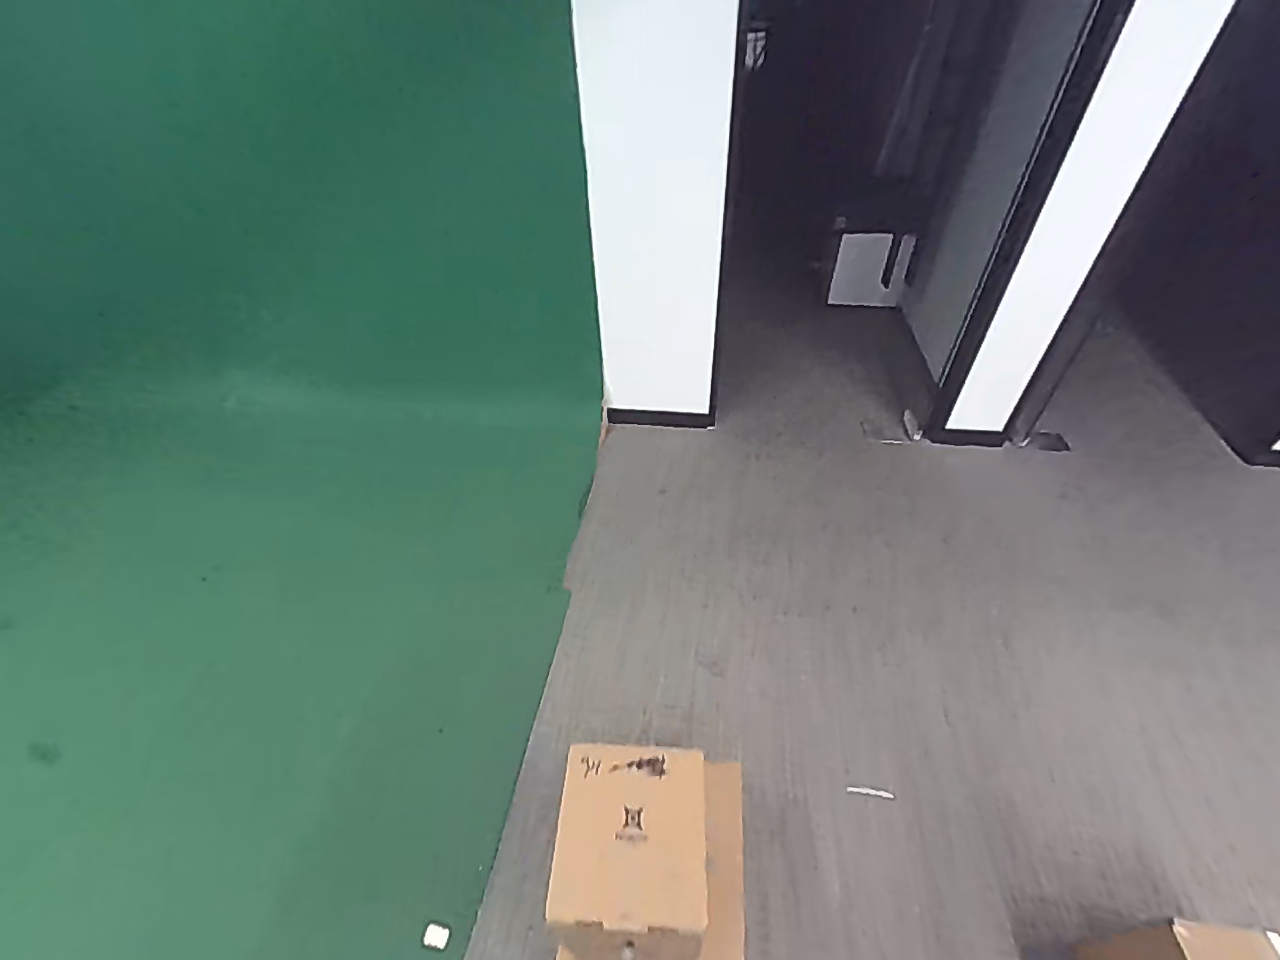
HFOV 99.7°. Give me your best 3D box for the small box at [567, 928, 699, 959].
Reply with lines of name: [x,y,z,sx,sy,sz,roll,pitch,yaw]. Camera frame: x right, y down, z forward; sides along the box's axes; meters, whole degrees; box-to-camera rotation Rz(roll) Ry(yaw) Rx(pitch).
small box: [-0.002,0.558,0.768,0.168,0.176,0.179,0,42,2]

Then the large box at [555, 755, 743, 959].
large box: [0.033,0.812,1.092,0.320,0.320,0.408,4,43,6]

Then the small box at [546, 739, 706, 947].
small box: [-0.005,0.439,0.654,0.168,0.176,0.179,2,44,4]
